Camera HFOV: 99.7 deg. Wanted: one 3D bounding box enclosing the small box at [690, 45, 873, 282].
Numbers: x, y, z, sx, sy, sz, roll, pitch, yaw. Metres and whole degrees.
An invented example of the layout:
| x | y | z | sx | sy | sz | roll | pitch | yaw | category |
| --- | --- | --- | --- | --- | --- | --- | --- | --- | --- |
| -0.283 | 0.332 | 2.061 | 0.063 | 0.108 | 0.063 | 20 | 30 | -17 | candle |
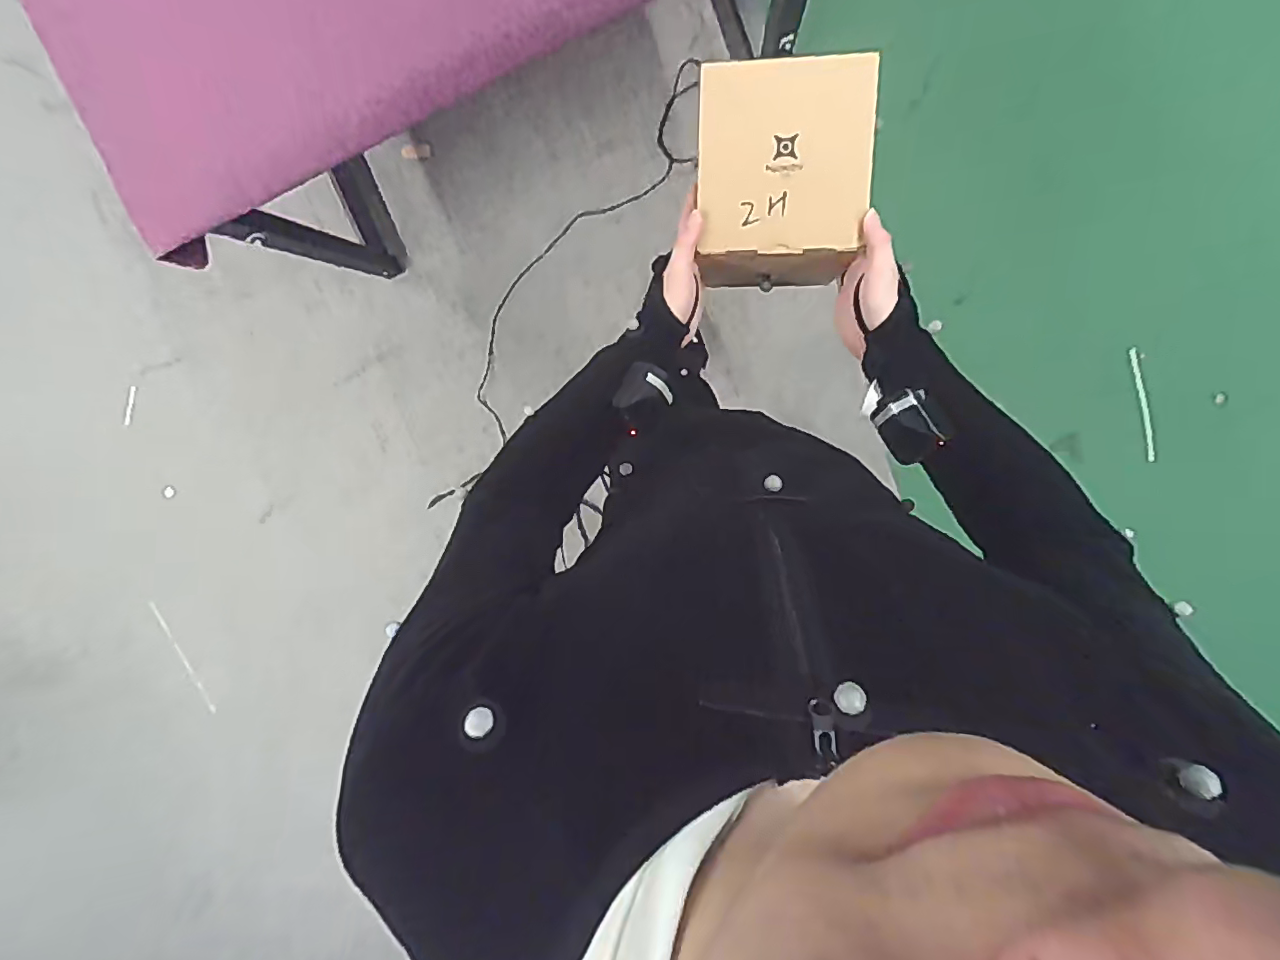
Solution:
| x | y | z | sx | sy | sz | roll | pitch | yaw | category |
| --- | --- | --- | --- | --- | --- | --- | --- | --- | --- |
| 0.142 | -0.329 | 0.596 | 0.168 | 0.176 | 0.179 | 2 | 99 | 7 | small box |
